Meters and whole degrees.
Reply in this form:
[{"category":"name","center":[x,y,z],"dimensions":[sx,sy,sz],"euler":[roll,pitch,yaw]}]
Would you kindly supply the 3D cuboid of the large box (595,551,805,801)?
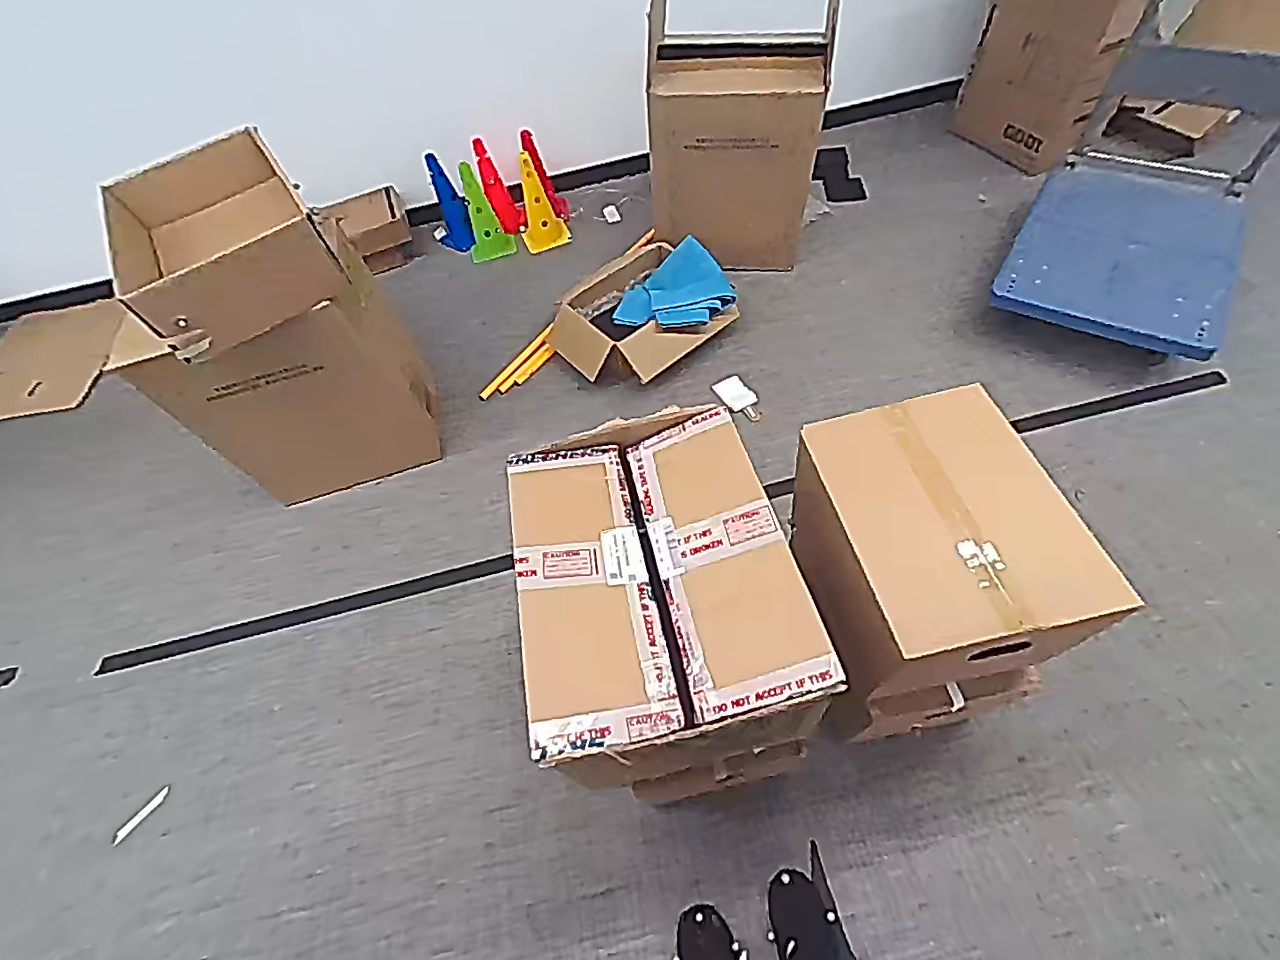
[{"category":"large box","center":[0.111,0.424,1.167],"dimensions":[0.320,0.320,0.408],"euler":[-15,56,-1]}]
